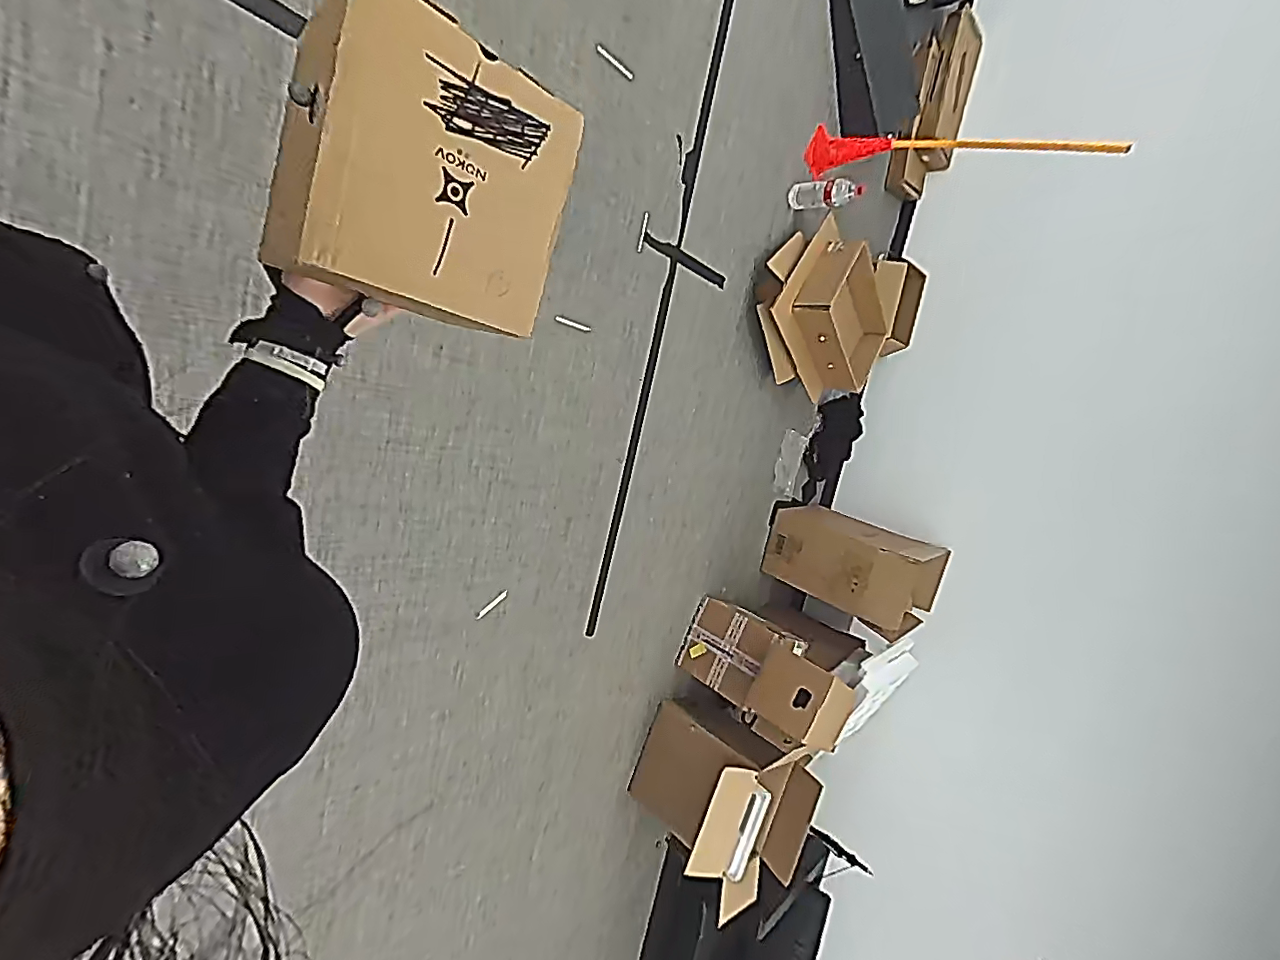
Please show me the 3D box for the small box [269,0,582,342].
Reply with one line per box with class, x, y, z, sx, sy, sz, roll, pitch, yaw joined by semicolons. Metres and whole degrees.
small box;-0.178;-0.228;0.435;0.168;0.176;0.179;10;100;-44
